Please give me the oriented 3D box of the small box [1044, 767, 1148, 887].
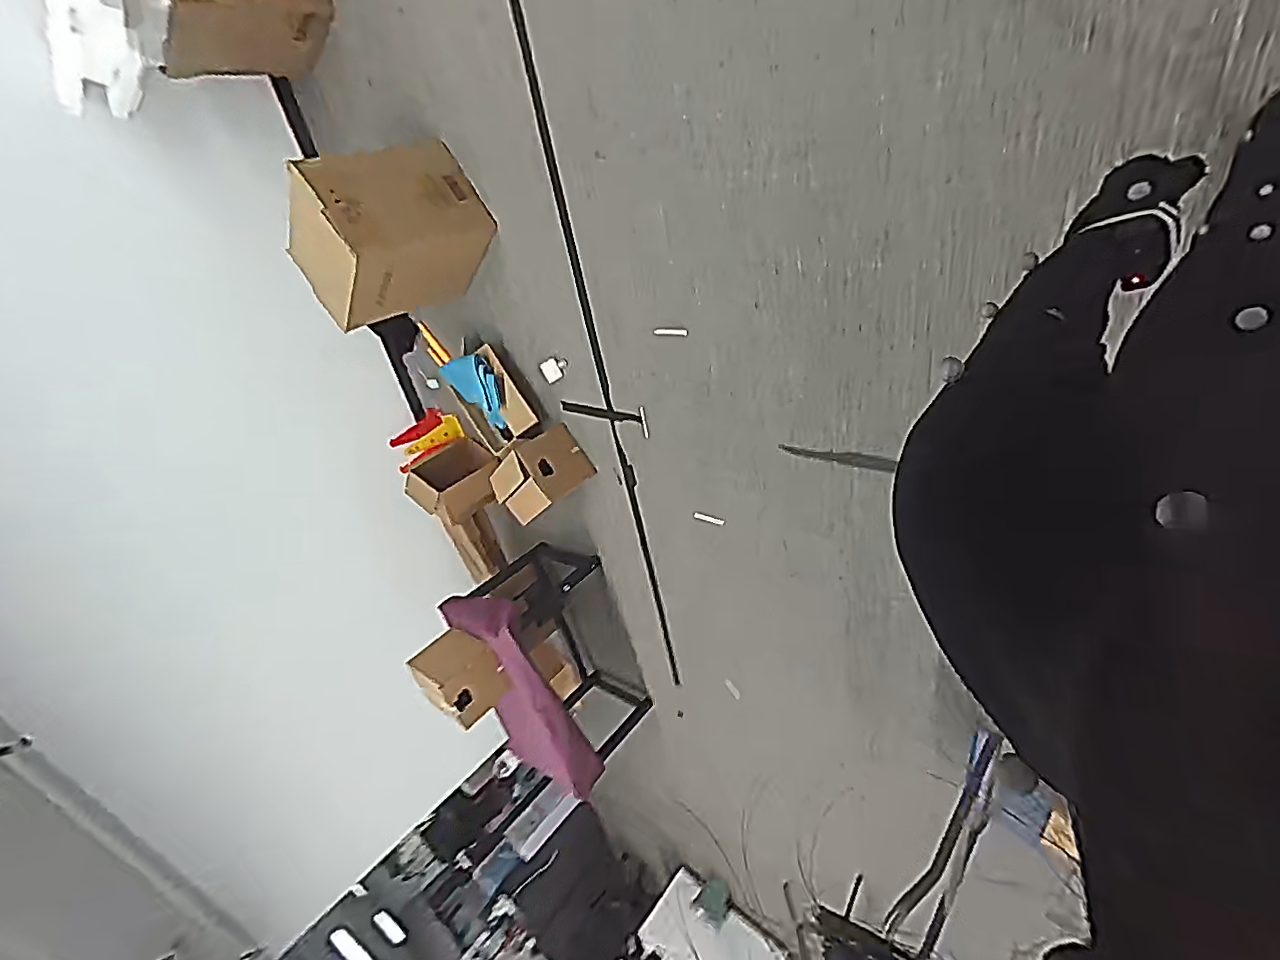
[{"bbox_3d":[1.214,0.913,1.439,0.179,0.176,0.168,18,131,40],"label":"small box"}]
